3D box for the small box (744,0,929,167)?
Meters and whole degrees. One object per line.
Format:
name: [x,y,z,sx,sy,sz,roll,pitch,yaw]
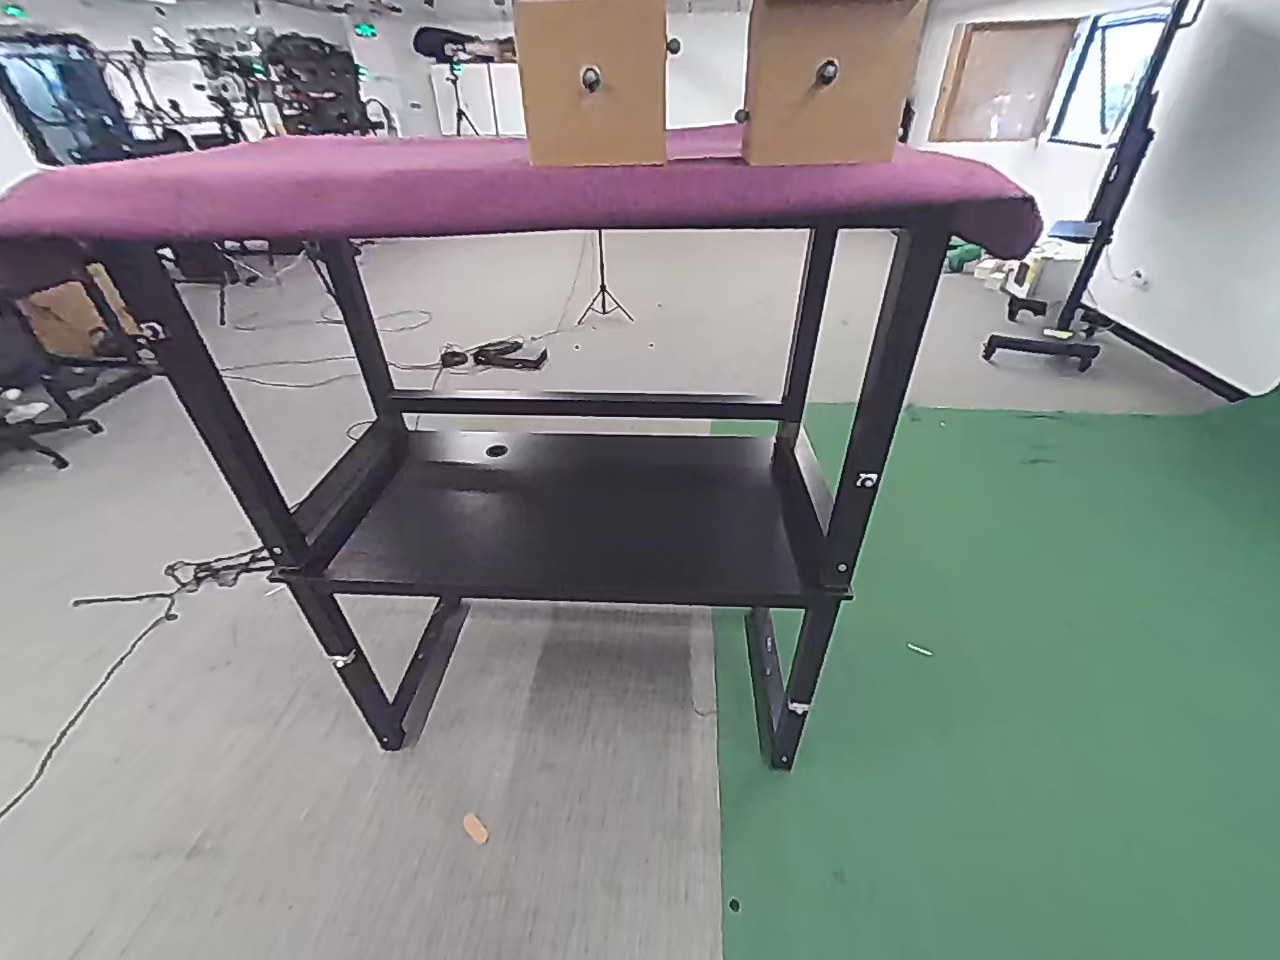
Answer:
small box: [0.232,-0.507,0.686,0.179,0.176,0.168,1,36,5]
